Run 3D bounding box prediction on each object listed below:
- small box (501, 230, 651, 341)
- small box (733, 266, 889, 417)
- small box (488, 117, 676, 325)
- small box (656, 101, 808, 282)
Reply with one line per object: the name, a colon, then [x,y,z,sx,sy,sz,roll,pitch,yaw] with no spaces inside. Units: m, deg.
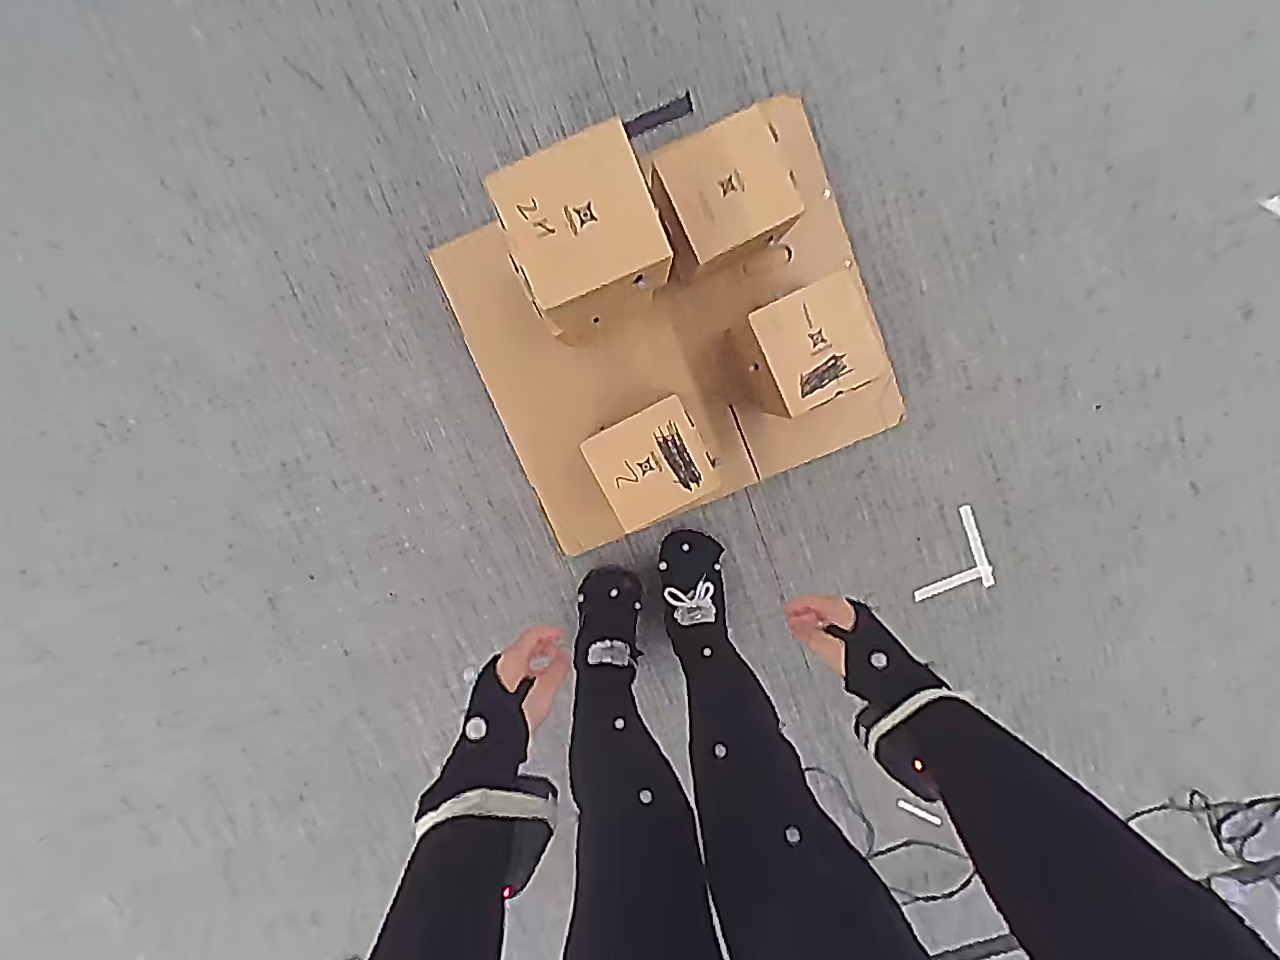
small box: [-0.090,-0.337,0.869,0.179,0.176,0.168,-26,99,5]
small box: [0.271,-0.220,0.891,0.168,0.176,0.179,-26,98,4]
small box: [-0.067,-0.319,0.705,0.179,0.176,0.168,-23,98,4]
small box: [0.132,-0.440,0.856,0.179,0.176,0.168,-26,98,5]
